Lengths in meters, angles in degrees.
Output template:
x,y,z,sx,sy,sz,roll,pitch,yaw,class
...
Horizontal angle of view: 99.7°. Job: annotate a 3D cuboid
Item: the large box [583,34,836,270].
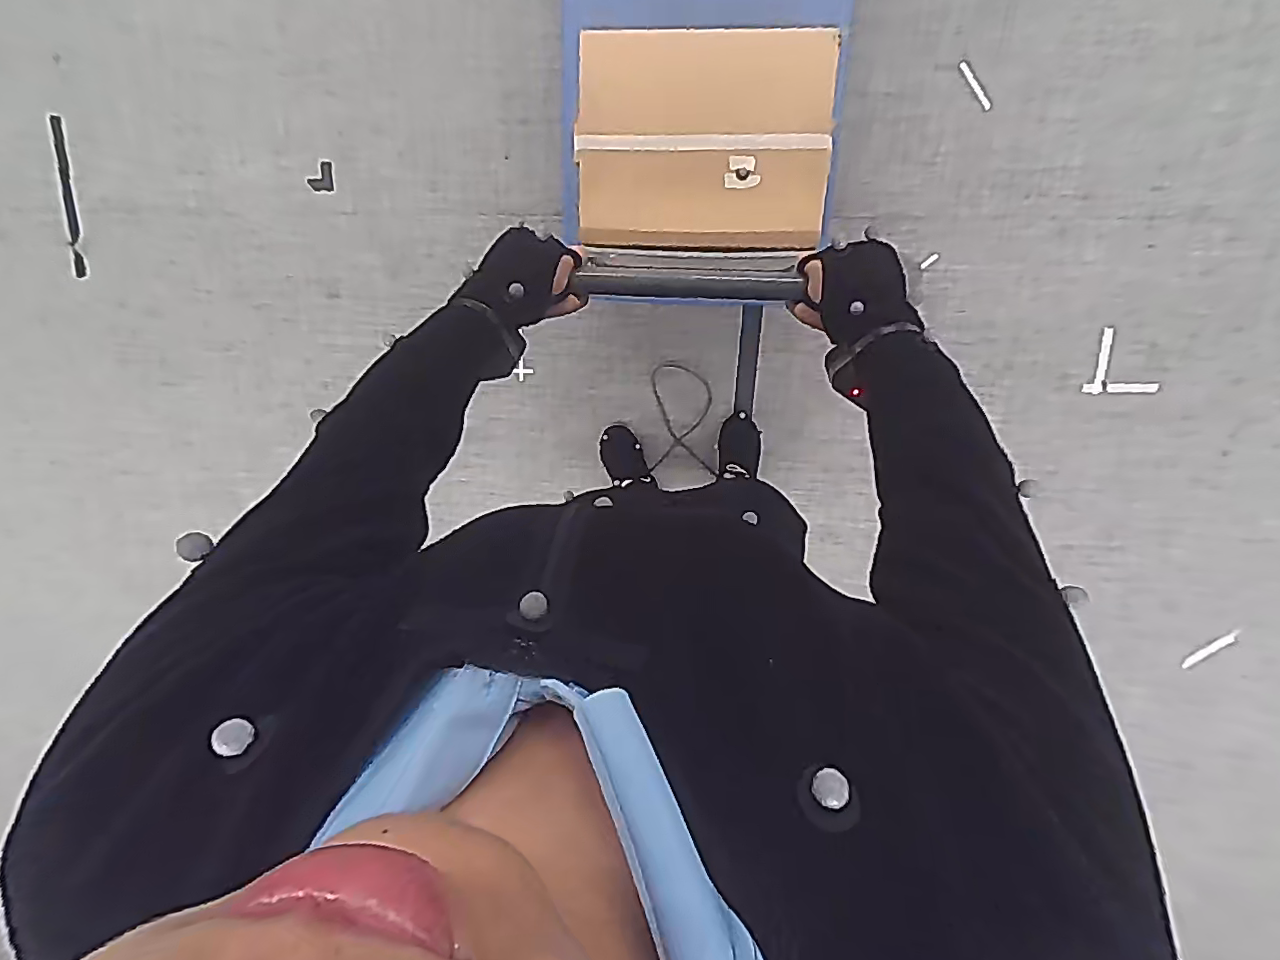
x,y,z,sx,sy,sz,roll,pitch,yaw,class
0.115,-0.584,1.031,0.408,0.320,0.320,2,106,3,large box
